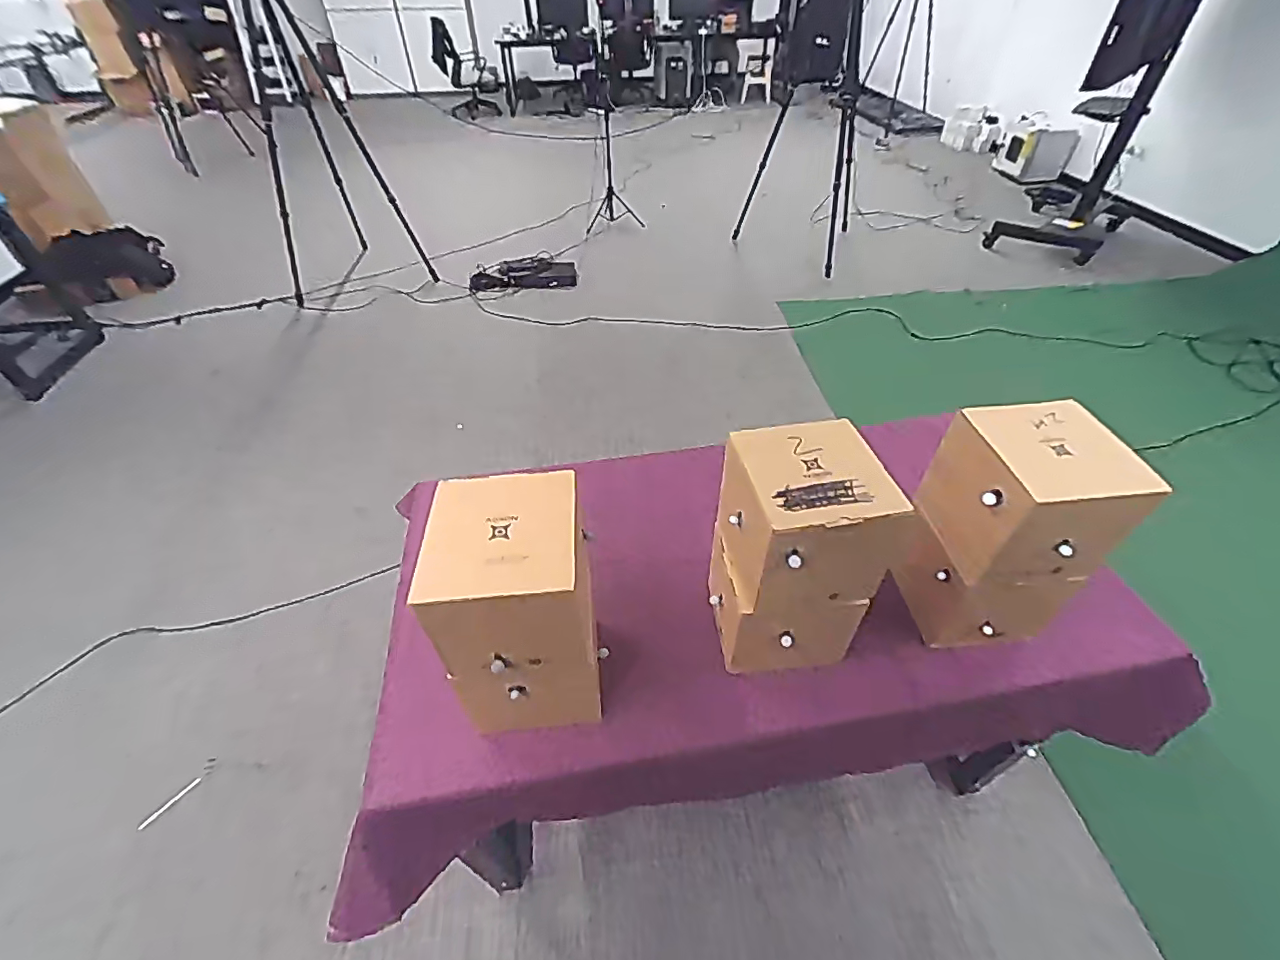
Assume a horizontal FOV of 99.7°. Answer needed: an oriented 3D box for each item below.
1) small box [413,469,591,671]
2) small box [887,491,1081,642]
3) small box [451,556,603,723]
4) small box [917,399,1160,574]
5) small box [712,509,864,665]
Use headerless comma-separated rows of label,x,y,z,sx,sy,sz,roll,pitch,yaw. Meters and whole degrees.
small box,-0.149,0.108,0.654,0.168,0.176,0.179,-4,45,-2
small box,0.516,0.131,0.849,0.168,0.176,0.179,-4,45,-2
small box,-0.148,0.227,0.766,0.179,0.176,0.168,-4,44,-4
small box,0.515,0.014,0.733,0.168,0.176,0.179,-4,45,-4
small box,0.208,0.165,0.820,0.179,0.176,0.168,-5,45,-2
